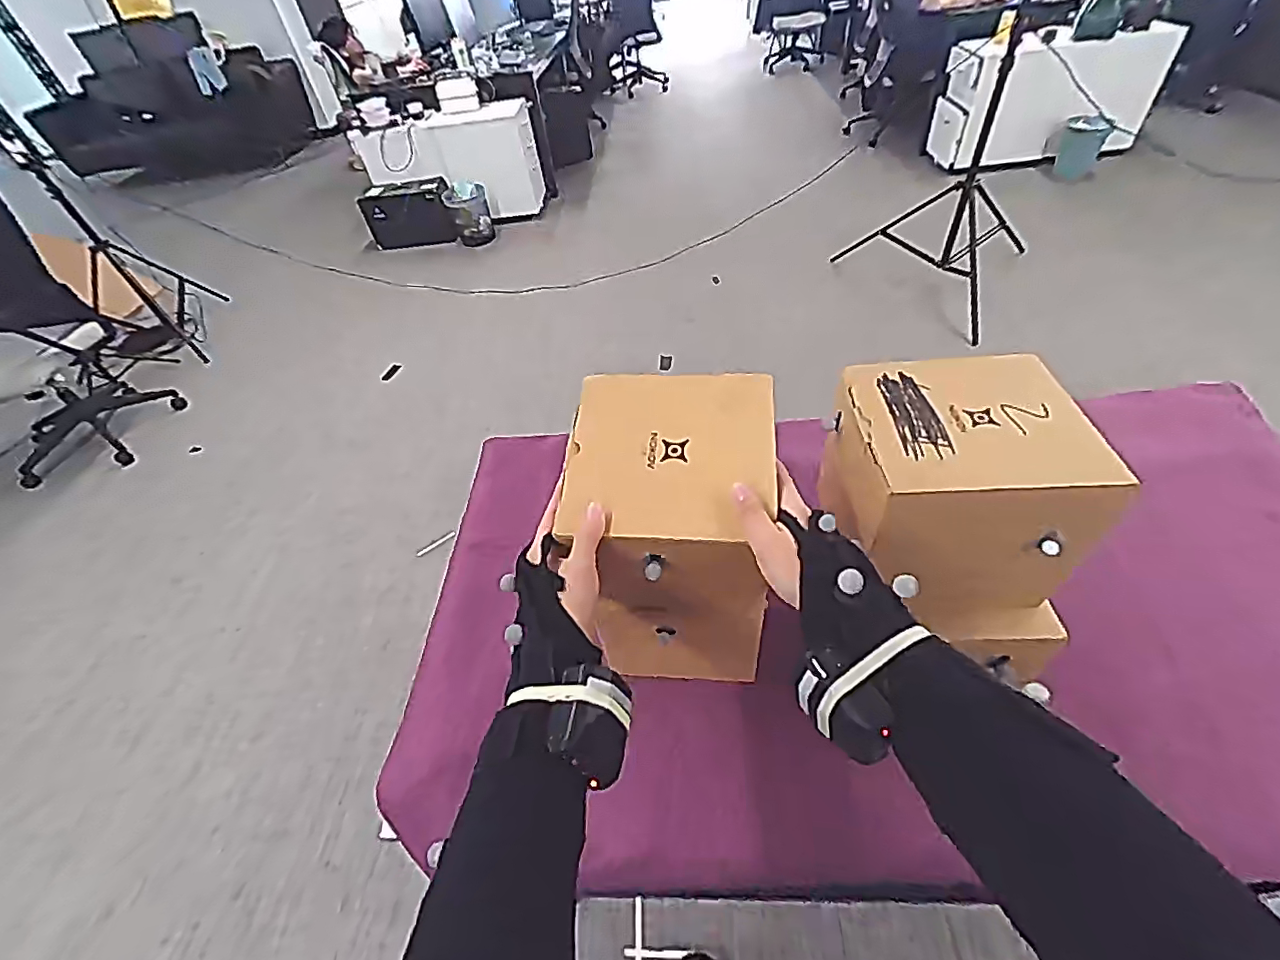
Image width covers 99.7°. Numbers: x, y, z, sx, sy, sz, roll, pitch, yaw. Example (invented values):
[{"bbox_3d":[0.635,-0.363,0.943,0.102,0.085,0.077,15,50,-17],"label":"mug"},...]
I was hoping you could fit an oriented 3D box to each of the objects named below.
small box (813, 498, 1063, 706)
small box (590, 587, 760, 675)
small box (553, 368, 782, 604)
[{"bbox_3d":[0.304,0.137,0.600,0.179,0.176,0.168,-3,46,6],"label":"small box"},{"bbox_3d":[0.050,0.121,0.652,0.179,0.176,0.168,1,48,8],"label":"small box"},{"bbox_3d":[0.035,0.012,0.515,0.179,0.176,0.168,1,59,9],"label":"small box"}]
